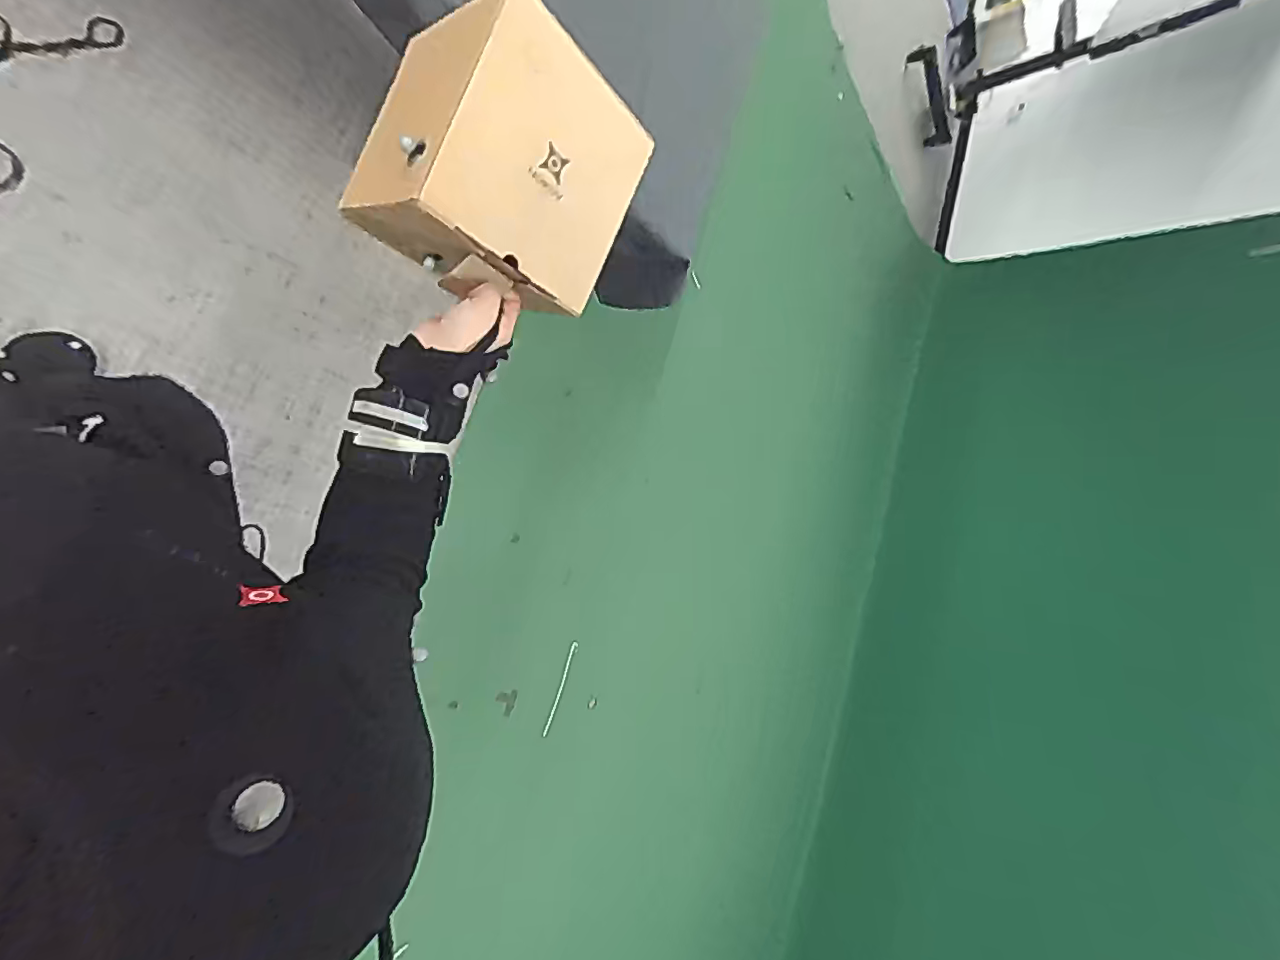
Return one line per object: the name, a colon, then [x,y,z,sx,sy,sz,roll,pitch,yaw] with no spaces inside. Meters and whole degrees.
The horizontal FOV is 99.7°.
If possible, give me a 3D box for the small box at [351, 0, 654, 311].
small box: [-0.124,-0.276,0.478,0.168,0.176,0.179,23,91,-49]
